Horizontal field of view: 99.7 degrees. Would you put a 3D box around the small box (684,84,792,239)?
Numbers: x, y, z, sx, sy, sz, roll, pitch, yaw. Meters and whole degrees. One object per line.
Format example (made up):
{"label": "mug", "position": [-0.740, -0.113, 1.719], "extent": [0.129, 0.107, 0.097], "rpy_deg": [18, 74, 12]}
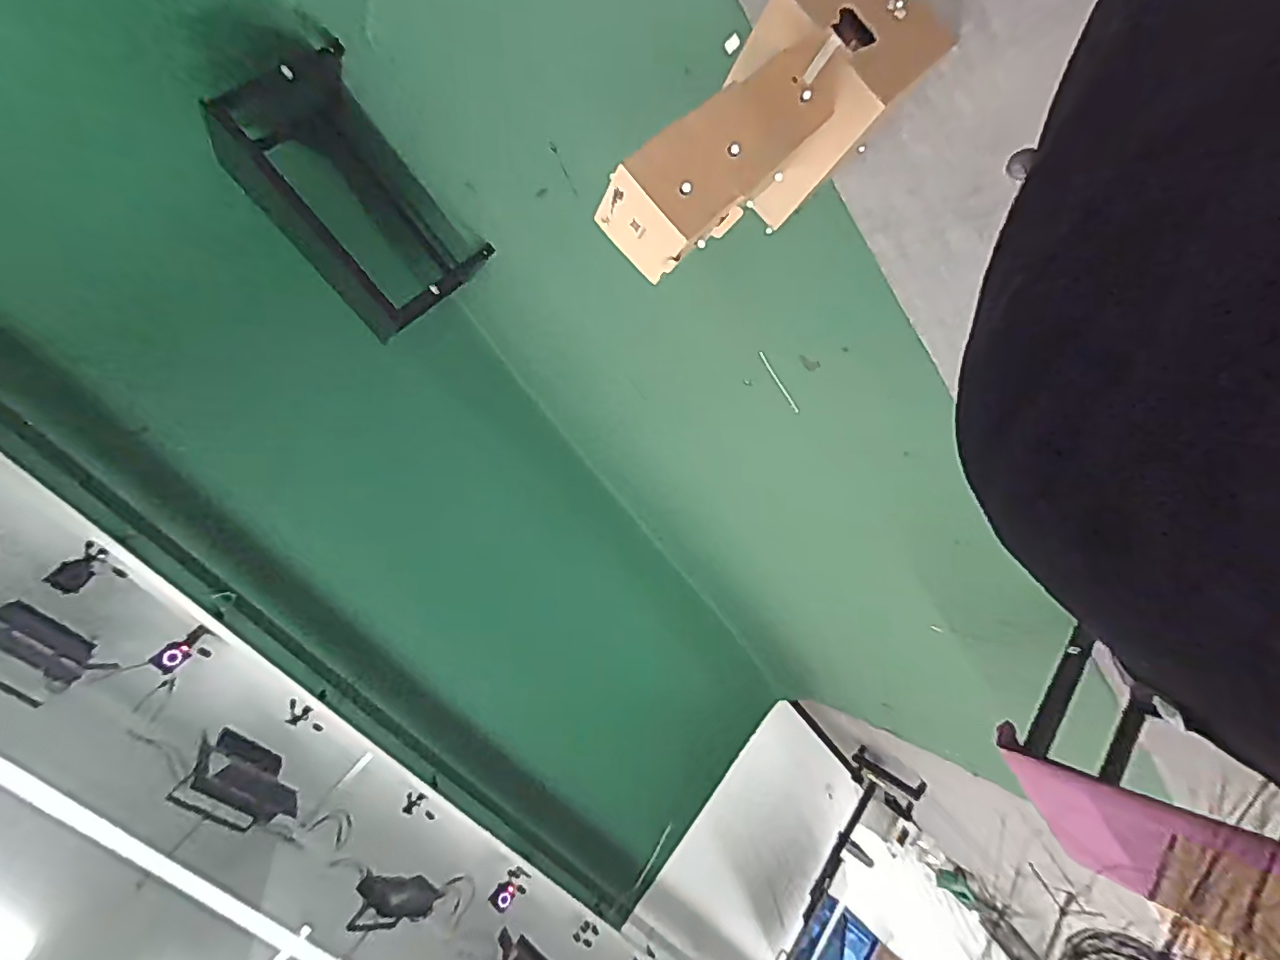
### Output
{"label": "small box", "position": [0.168, -0.635, 1.082], "extent": [0.179, 0.176, 0.168], "rpy_deg": [46, 159, -10]}

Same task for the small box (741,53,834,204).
{"label": "small box", "position": [0.272, -0.742, 1.150], "extent": [0.168, 0.176, 0.179], "rpy_deg": [45, 159, -8]}

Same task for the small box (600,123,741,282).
{"label": "small box", "position": [0.059, -0.524, 1.028], "extent": [0.179, 0.176, 0.168], "rpy_deg": [45, 159, -9]}

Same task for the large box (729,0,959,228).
{"label": "large box", "position": [0.423, -0.902, 1.261], "extent": [0.320, 0.320, 0.408], "rpy_deg": [46, 161, -4]}
